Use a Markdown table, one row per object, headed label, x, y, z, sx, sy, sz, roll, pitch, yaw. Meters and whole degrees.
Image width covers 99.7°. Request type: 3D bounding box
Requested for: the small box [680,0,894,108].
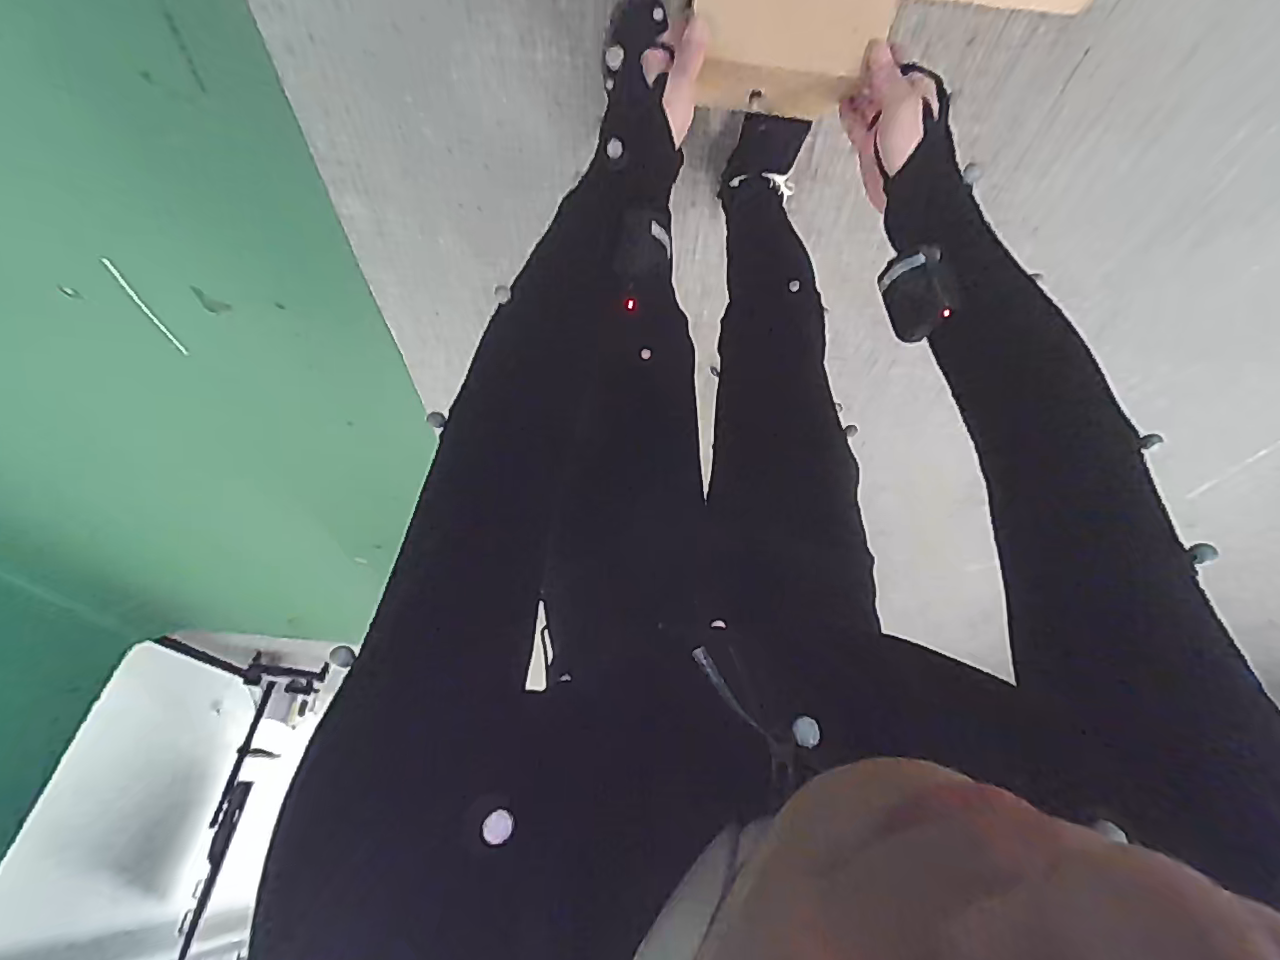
| label | x | y | z | sx | sy | sz | roll | pitch | yaw |
| --- | --- | --- | --- | --- | --- | --- | --- | --- | --- |
| small box | 0.131 | -0.464 | 0.492 | 0.168 | 0.176 | 0.179 | 6 | 113 | -3 |
